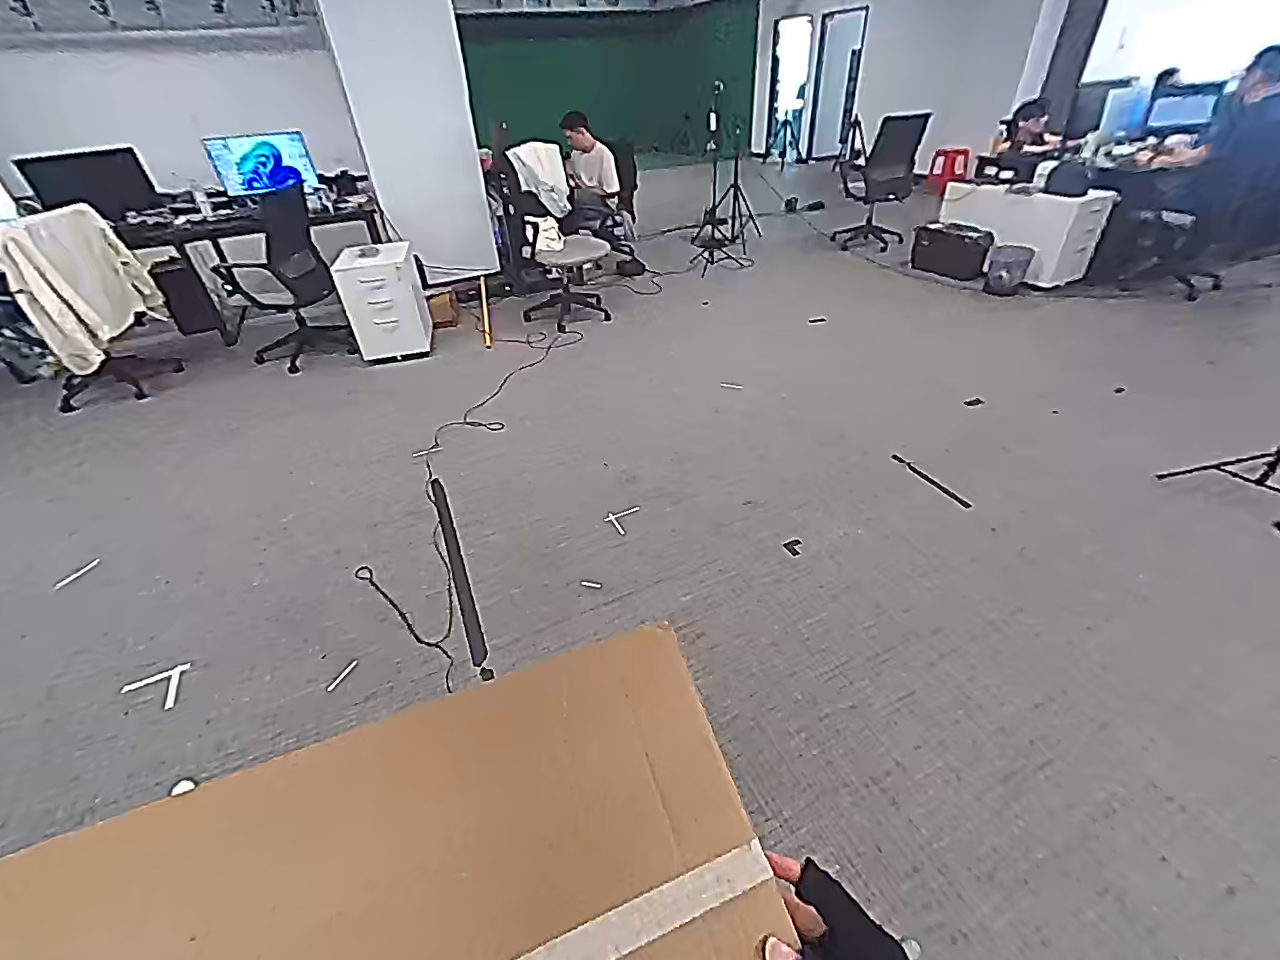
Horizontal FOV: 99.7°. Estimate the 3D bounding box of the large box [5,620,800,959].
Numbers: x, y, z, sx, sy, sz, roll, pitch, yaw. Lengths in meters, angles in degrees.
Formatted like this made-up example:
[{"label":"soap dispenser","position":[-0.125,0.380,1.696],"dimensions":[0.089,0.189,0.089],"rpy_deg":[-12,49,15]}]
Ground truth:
[{"label":"large box","position":[-0.129,0.356,0.419],"dimensions":[0.408,0.320,0.320],"rpy_deg":[-15,65,-16]}]
